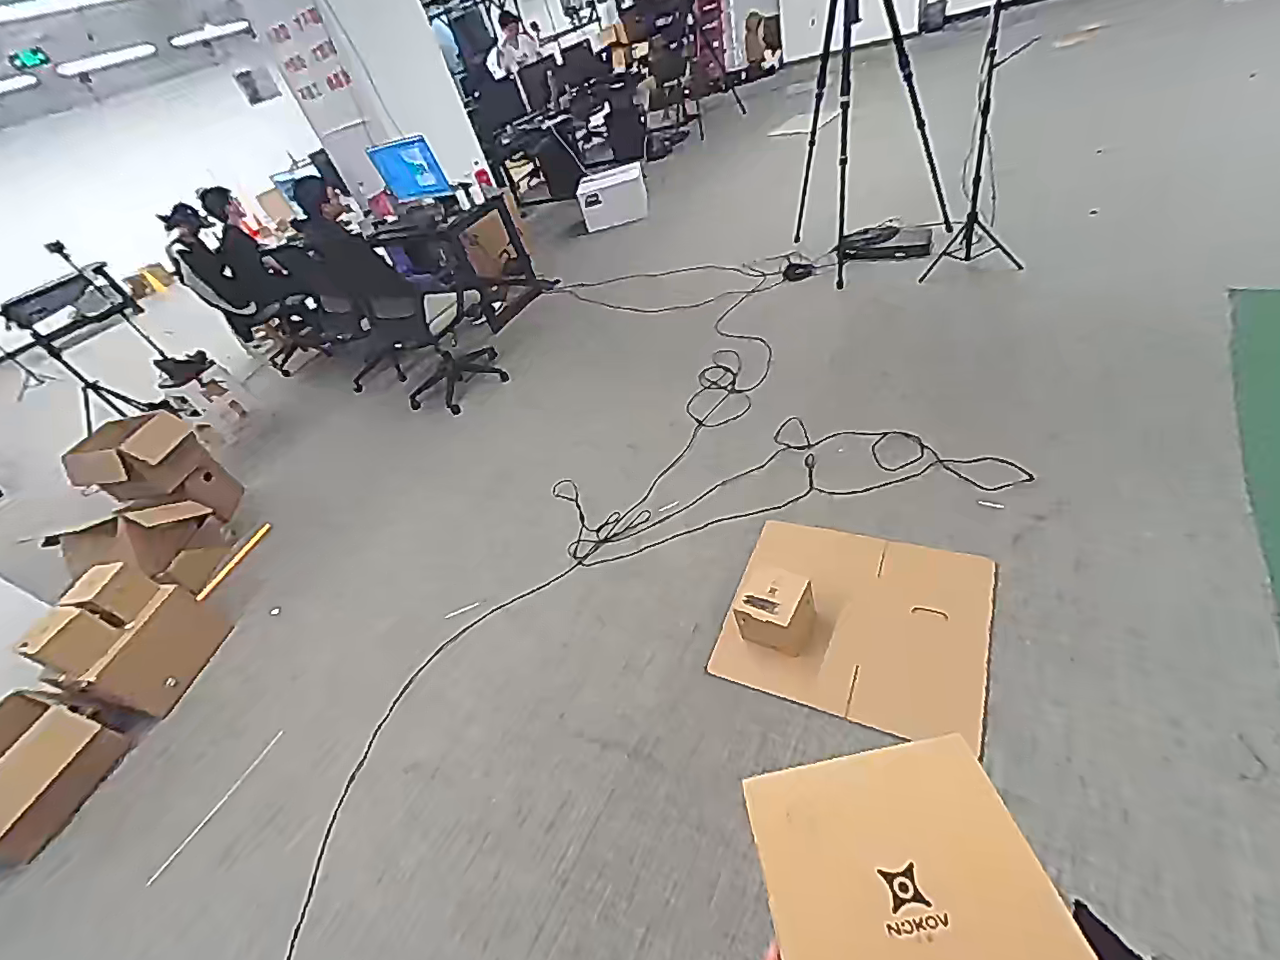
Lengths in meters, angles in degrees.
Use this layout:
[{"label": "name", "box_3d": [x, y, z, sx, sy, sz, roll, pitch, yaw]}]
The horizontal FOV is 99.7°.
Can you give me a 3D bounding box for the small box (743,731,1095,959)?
[{"label": "small box", "box_3d": [0.178, 0.313, 0.375, 0.168, 0.176, 0.179, -15, 36, 4]}]
